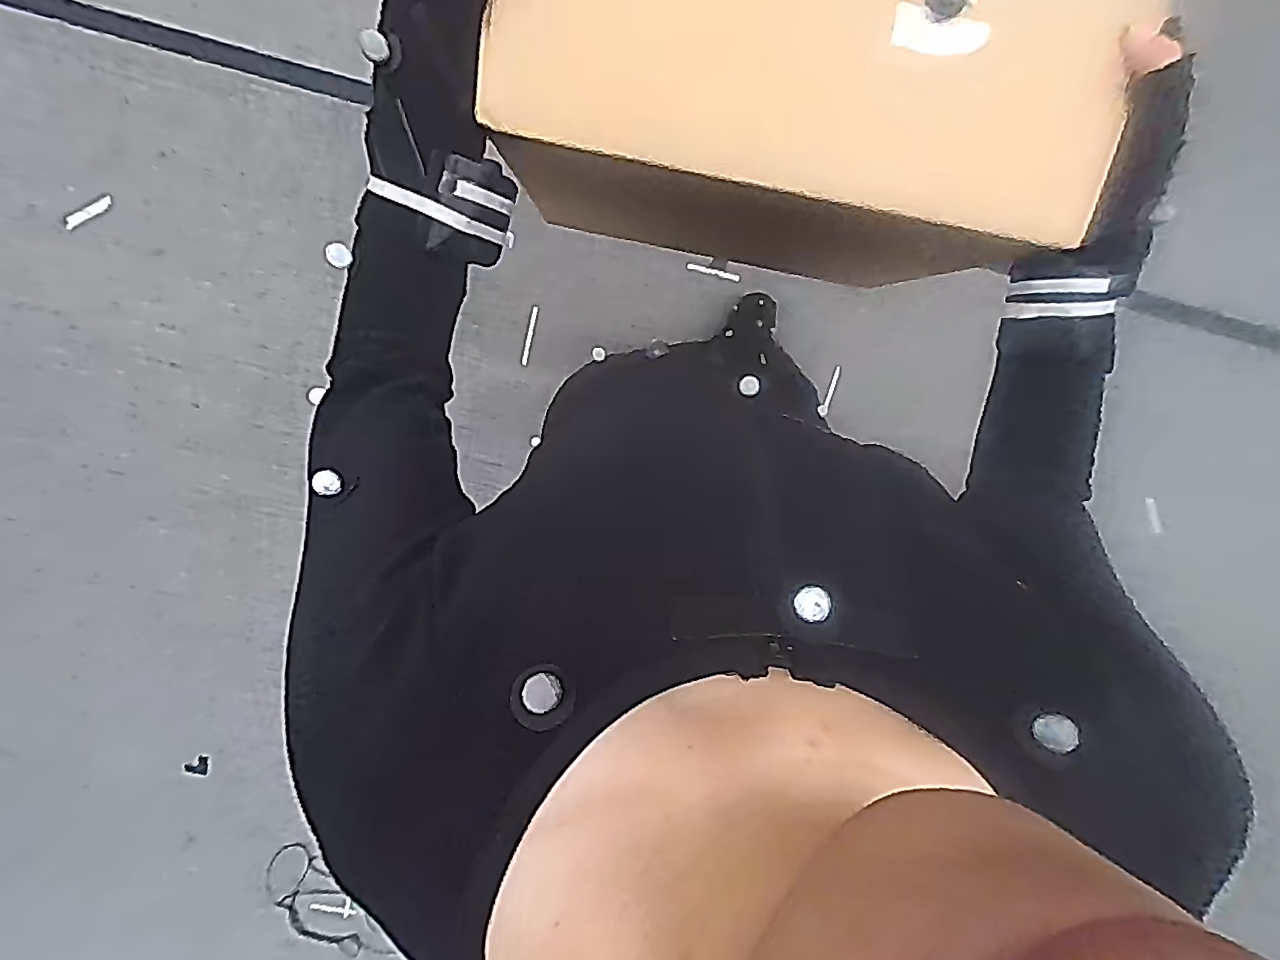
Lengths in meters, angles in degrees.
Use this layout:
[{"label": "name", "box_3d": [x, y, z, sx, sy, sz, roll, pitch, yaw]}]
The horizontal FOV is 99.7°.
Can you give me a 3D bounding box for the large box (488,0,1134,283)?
[{"label": "large box", "box_3d": [0.111, -0.378, 0.470, 0.408, 0.320, 0.320, 9, 104, -5]}]
